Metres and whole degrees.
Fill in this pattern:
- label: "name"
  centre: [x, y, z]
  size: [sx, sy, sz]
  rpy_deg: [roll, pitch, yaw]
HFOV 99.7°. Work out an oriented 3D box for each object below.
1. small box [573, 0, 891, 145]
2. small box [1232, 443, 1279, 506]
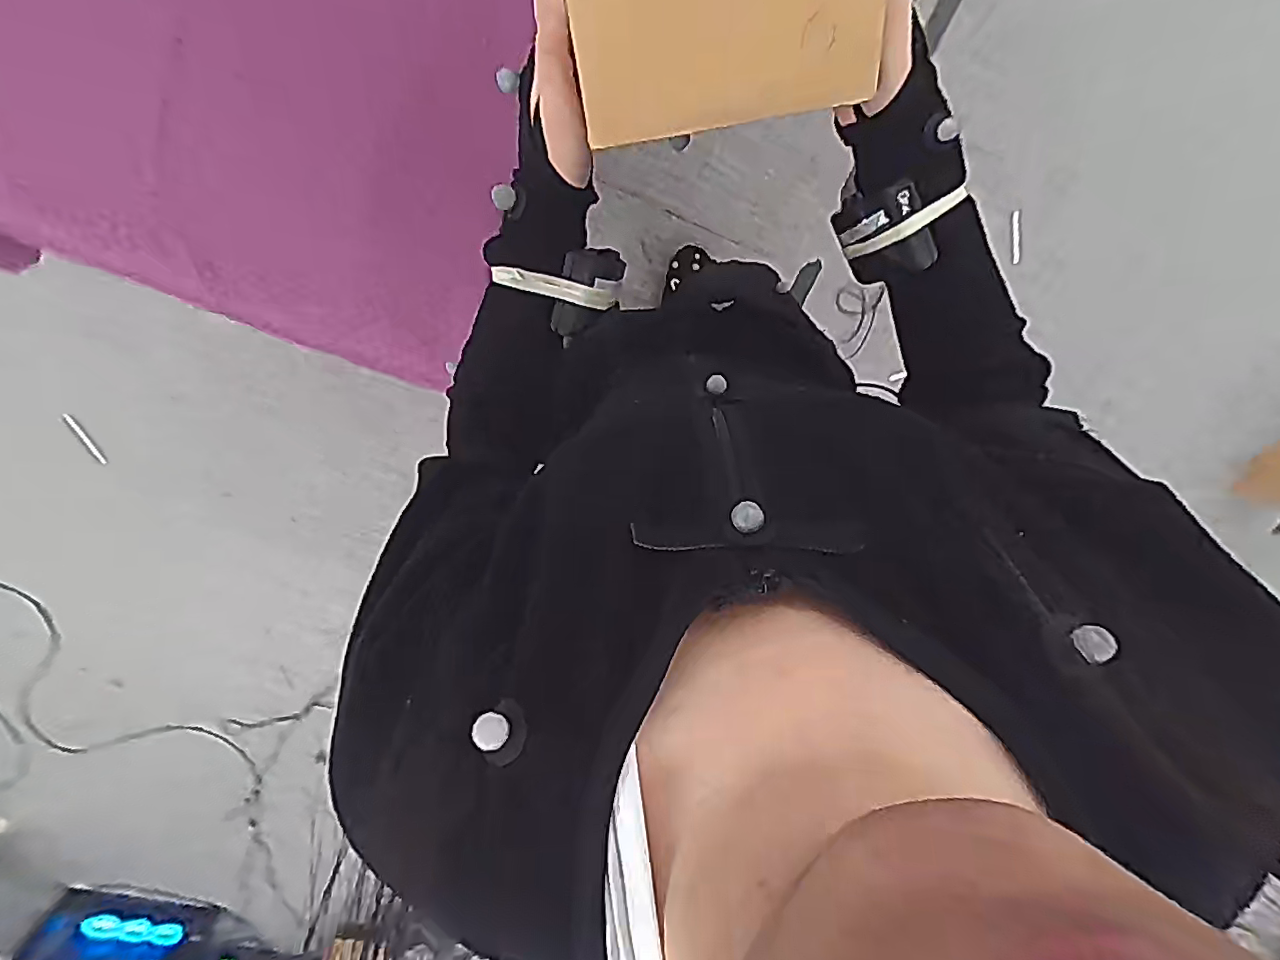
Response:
- label: "small box"
  centre: [0.041, -0.321, 0.322]
  size: [0.168, 0.176, 0.179]
  rpy_deg: [-8, 127, 3]
- label: "small box"
  centre: [1.963, 0.002, 1.614]
  size: [0.179, 0.176, 0.168]
  rpy_deg: [15, 113, -11]
